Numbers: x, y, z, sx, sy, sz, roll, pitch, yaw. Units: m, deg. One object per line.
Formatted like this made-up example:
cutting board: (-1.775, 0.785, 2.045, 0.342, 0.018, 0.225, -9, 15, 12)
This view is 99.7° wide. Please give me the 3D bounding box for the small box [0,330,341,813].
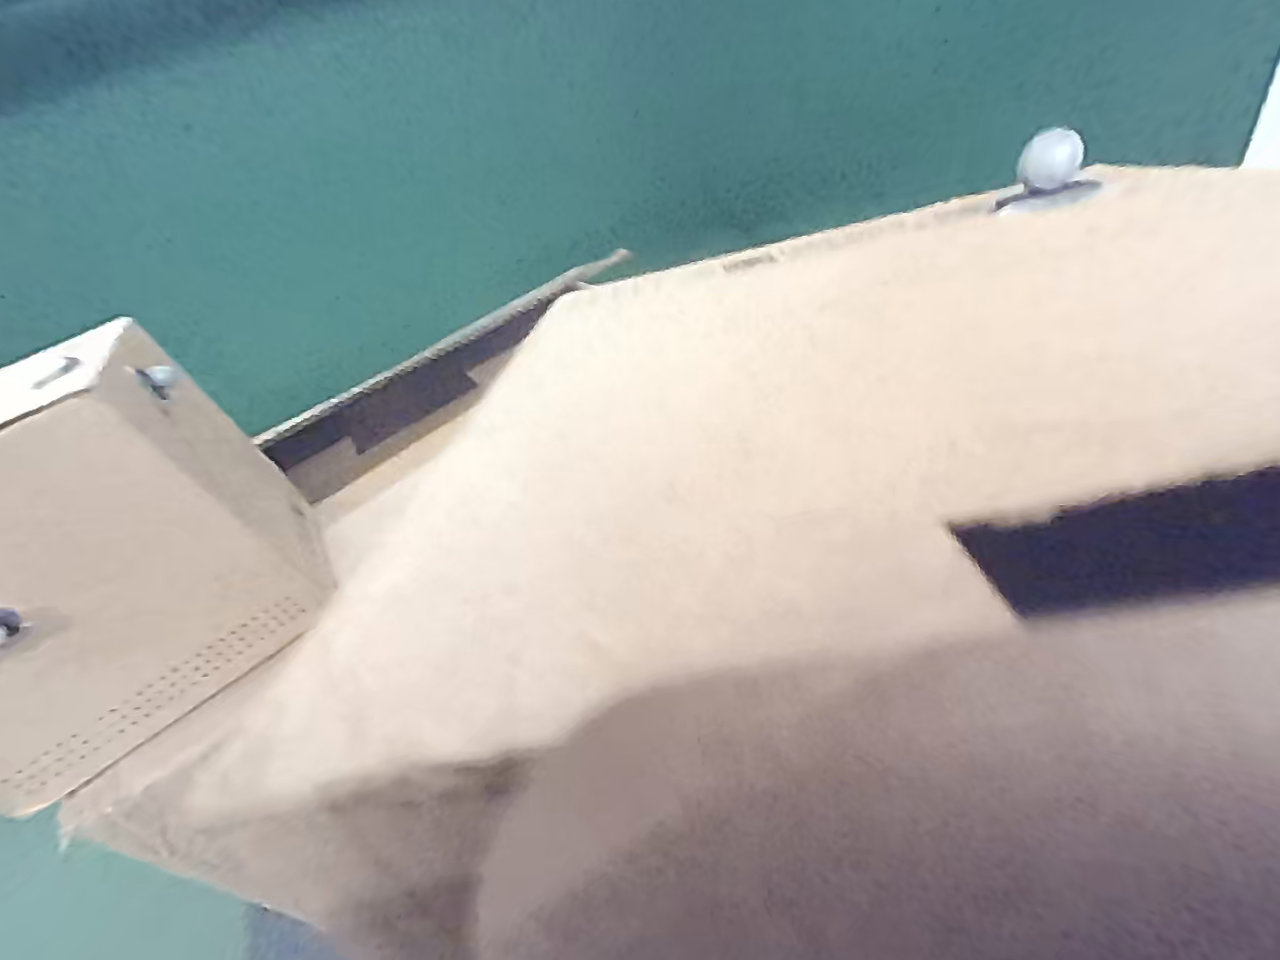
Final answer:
small box: (-0.314, 0.043, 0.310, 0.179, 0.176, 0.168, -37, 41, -17)
